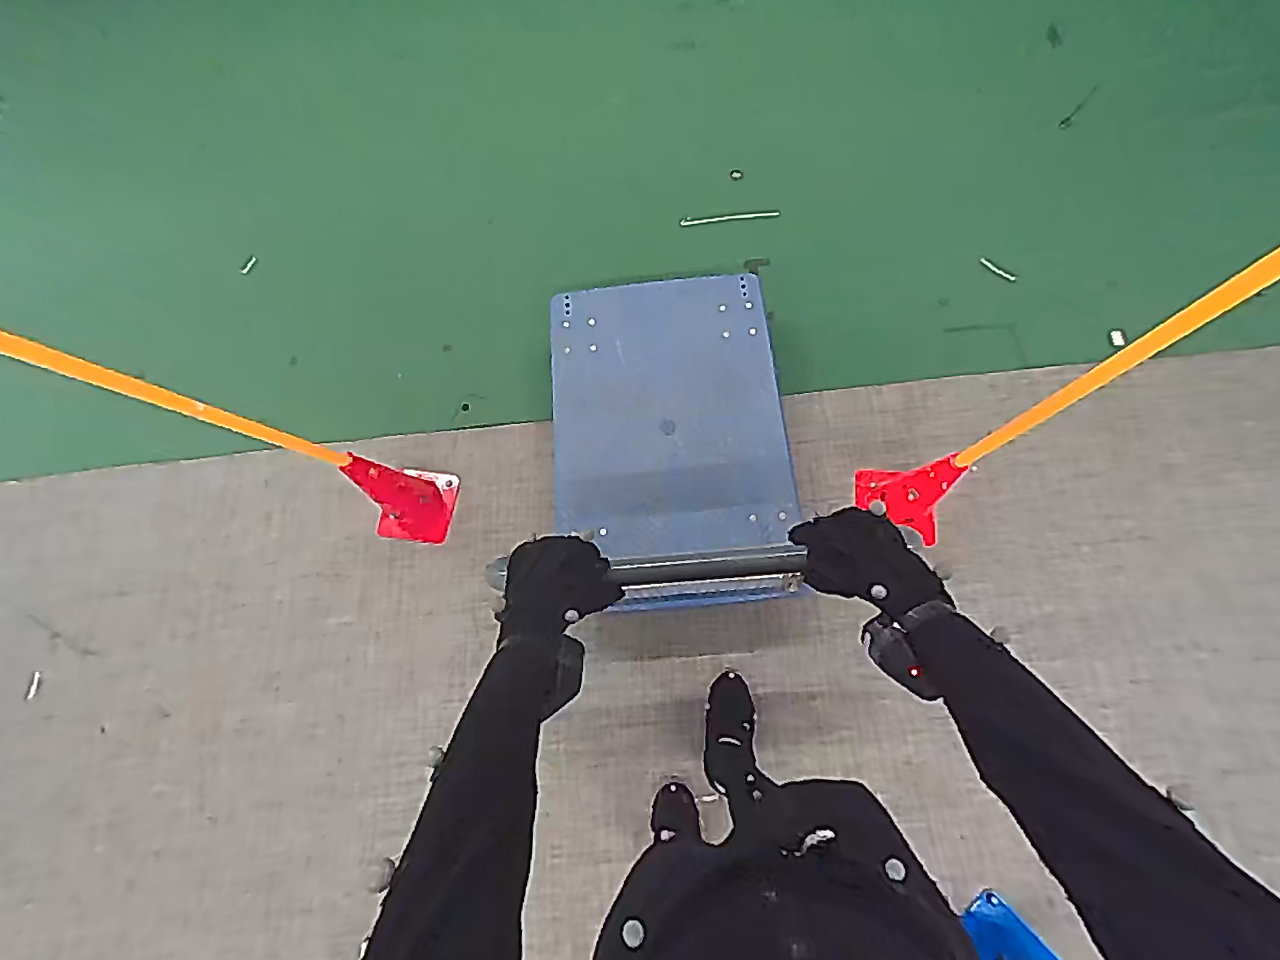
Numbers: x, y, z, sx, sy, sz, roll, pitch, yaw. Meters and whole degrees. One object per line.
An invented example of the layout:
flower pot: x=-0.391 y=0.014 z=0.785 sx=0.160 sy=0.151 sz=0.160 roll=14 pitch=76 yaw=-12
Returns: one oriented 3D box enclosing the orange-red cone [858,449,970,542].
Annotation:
orange-red cone: x=0.662 y=0.009 z=1.256 sx=0.198 sy=0.360 sz=0.199 roll=5 pitch=73 yaw=6
